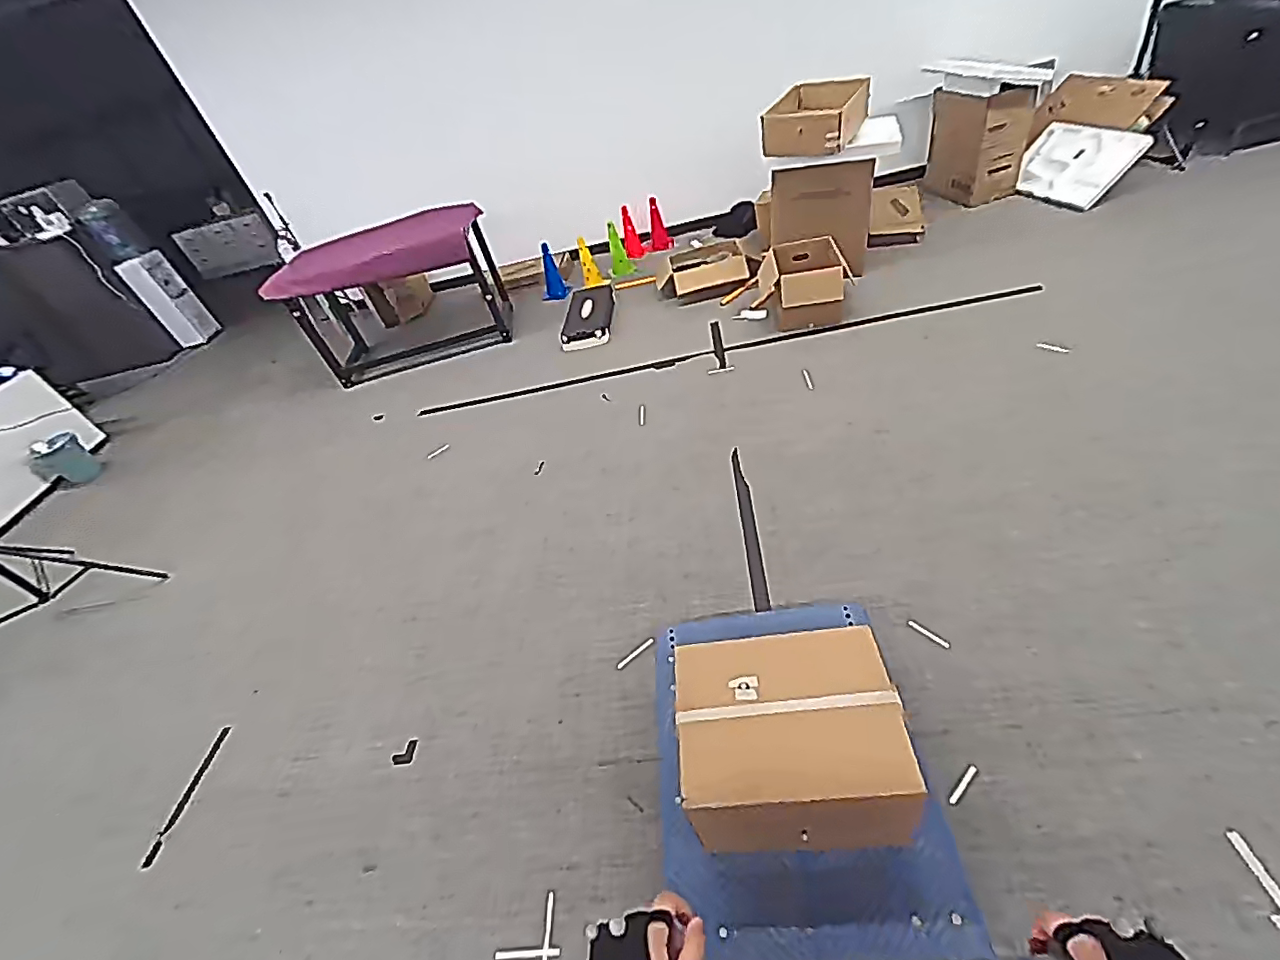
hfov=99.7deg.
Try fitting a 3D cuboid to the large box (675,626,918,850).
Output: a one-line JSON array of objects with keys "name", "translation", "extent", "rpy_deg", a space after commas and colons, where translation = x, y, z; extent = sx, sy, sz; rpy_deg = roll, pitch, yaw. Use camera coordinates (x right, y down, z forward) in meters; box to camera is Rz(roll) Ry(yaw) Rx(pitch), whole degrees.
[{"name": "large box", "translation": [0.307, 0.547, 1.134], "extent": [0.408, 0.320, 0.320], "rpy_deg": [-11, 41, 10]}]
